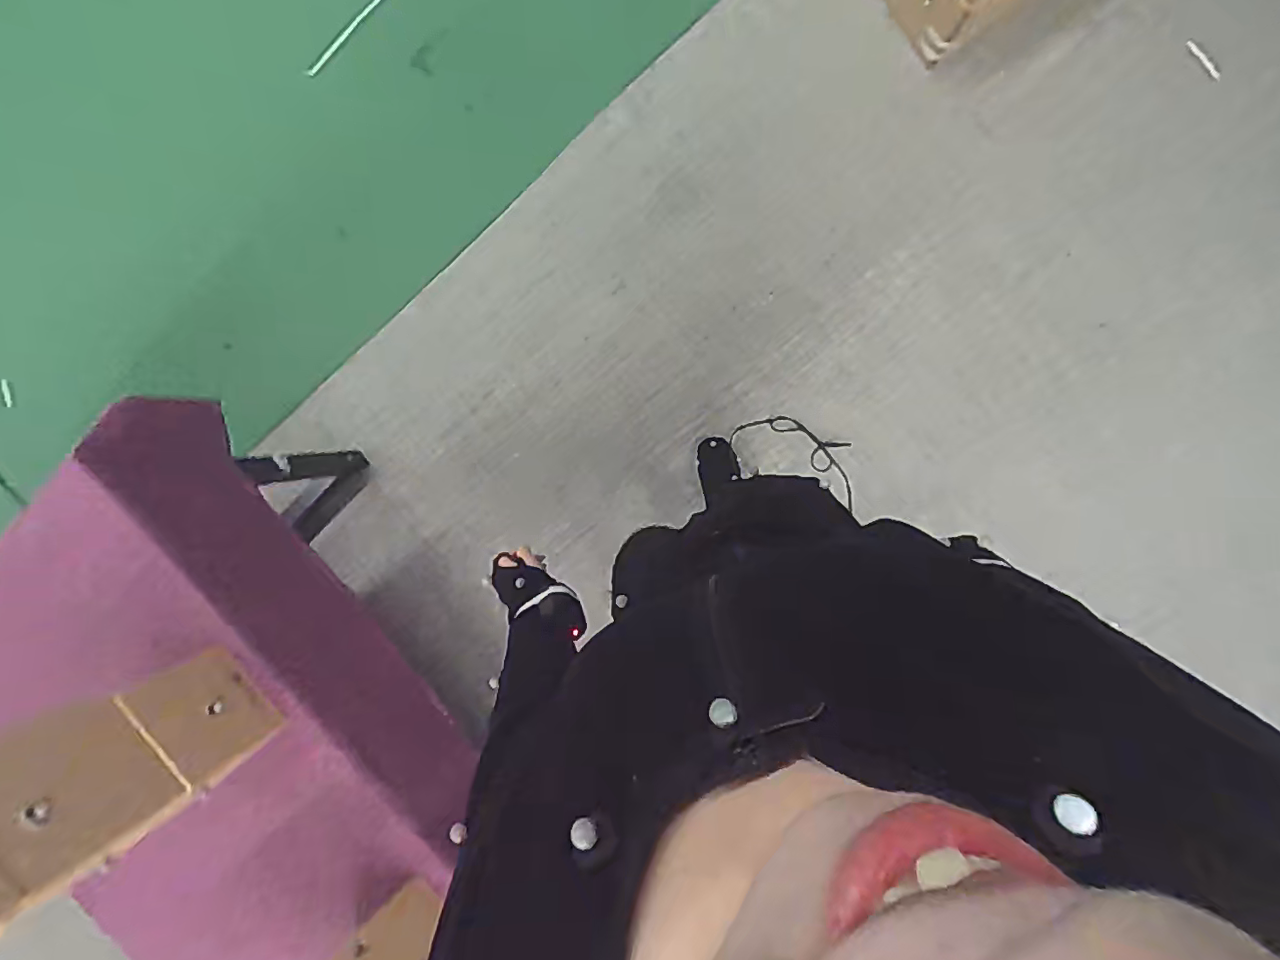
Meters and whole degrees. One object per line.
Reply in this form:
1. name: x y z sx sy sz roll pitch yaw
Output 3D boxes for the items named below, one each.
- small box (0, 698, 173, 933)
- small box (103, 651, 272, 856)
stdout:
1. small box: -0.718 0.397 0.634 0.168 0.176 0.179 -39 90 8
2. small box: -0.693 0.386 0.797 0.179 0.176 0.168 -40 90 9
